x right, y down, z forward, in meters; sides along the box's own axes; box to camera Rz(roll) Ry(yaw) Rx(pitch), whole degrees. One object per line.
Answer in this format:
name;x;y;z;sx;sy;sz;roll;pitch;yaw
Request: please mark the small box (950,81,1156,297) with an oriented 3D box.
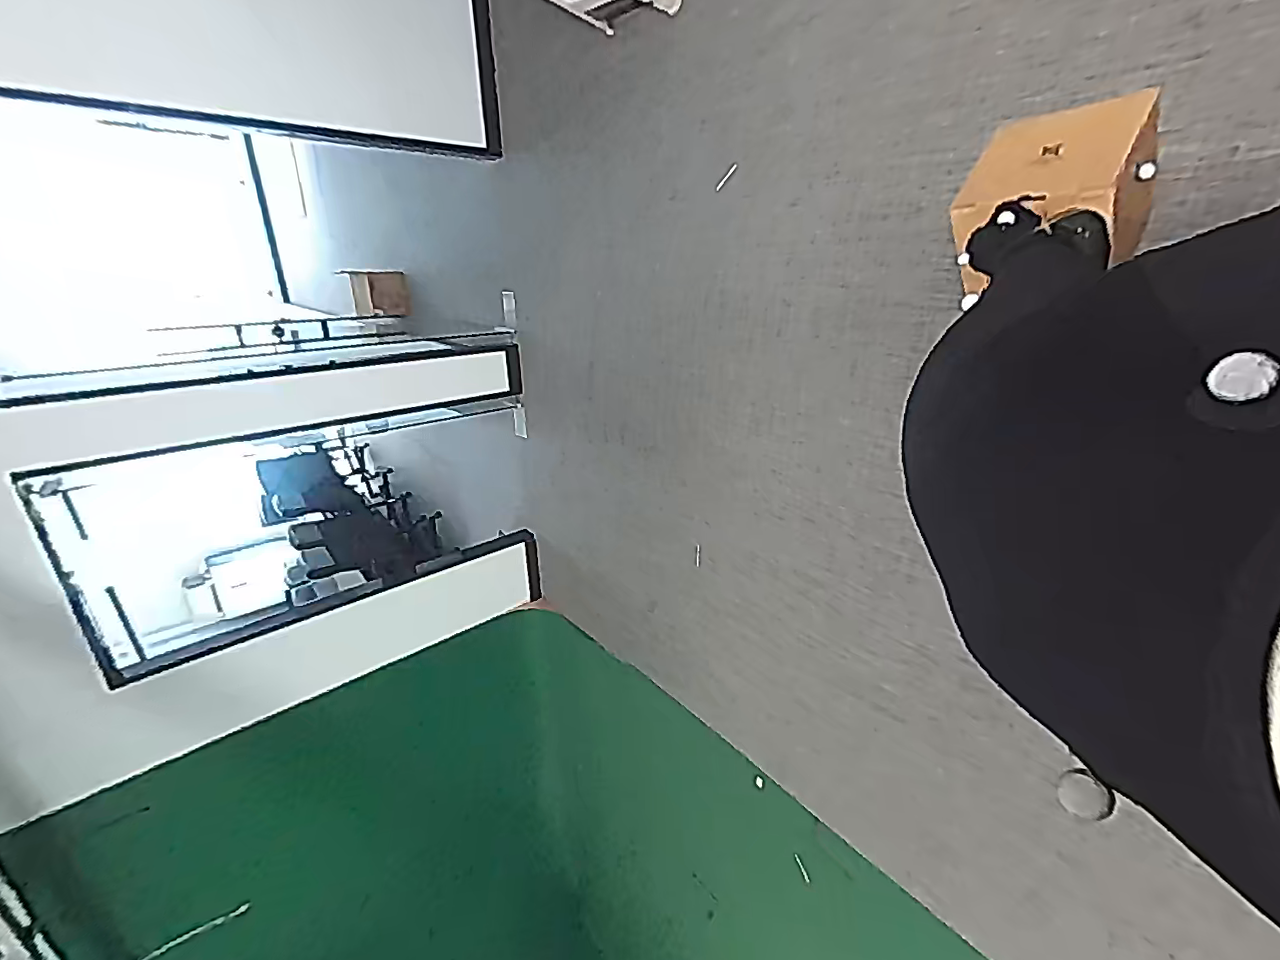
small box;0.539;-0.367;0.713;0.168;0.179;0.176;18;159;46
